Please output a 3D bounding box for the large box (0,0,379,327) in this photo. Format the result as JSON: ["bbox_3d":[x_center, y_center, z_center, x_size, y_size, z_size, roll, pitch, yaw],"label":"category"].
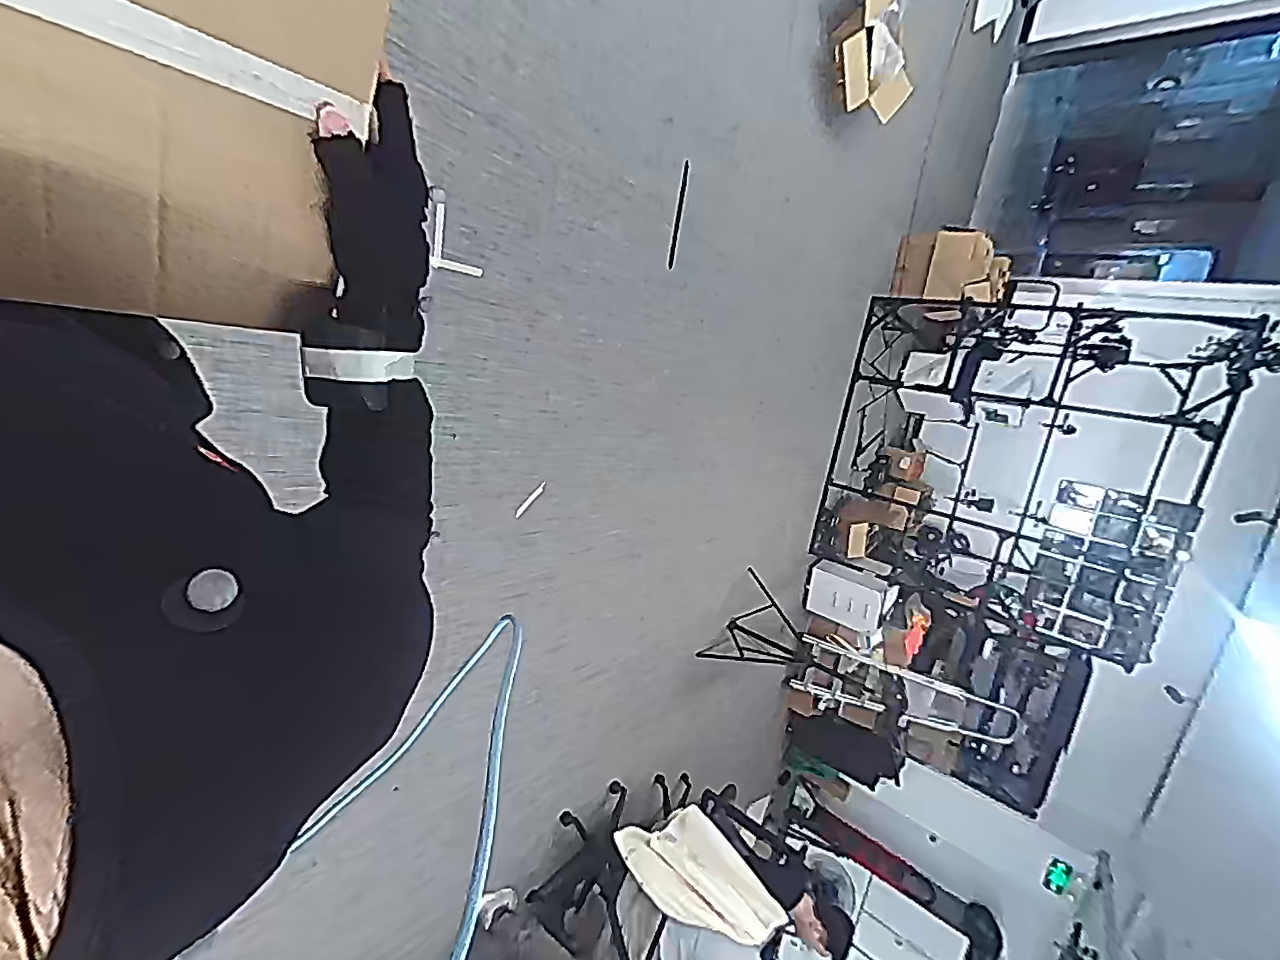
[{"bbox_3d":[-0.409,-0.315,0.284,0.408,0.320,0.320,-6,136,-47],"label":"large box"}]
